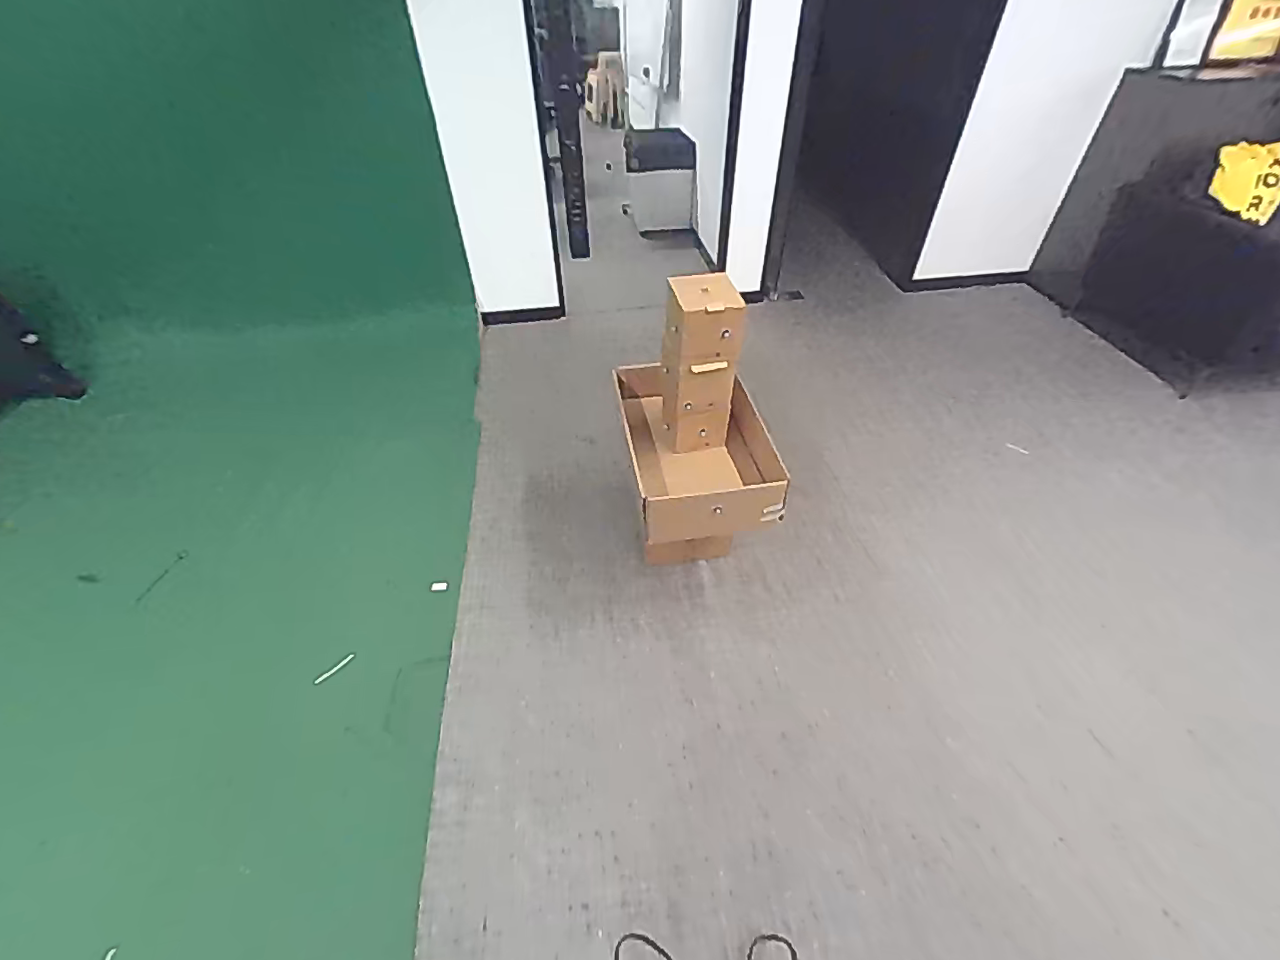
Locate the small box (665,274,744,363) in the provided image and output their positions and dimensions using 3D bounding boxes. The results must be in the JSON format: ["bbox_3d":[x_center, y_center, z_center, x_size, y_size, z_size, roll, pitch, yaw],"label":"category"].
[{"bbox_3d":[0.166,-0.427,1.451,0.168,0.176,0.179,-8,48,-8],"label":"small box"}]

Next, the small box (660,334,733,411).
[{"bbox_3d":[0.159,-0.315,1.569,0.168,0.176,0.179,-10,47,-10],"label":"small box"}]
